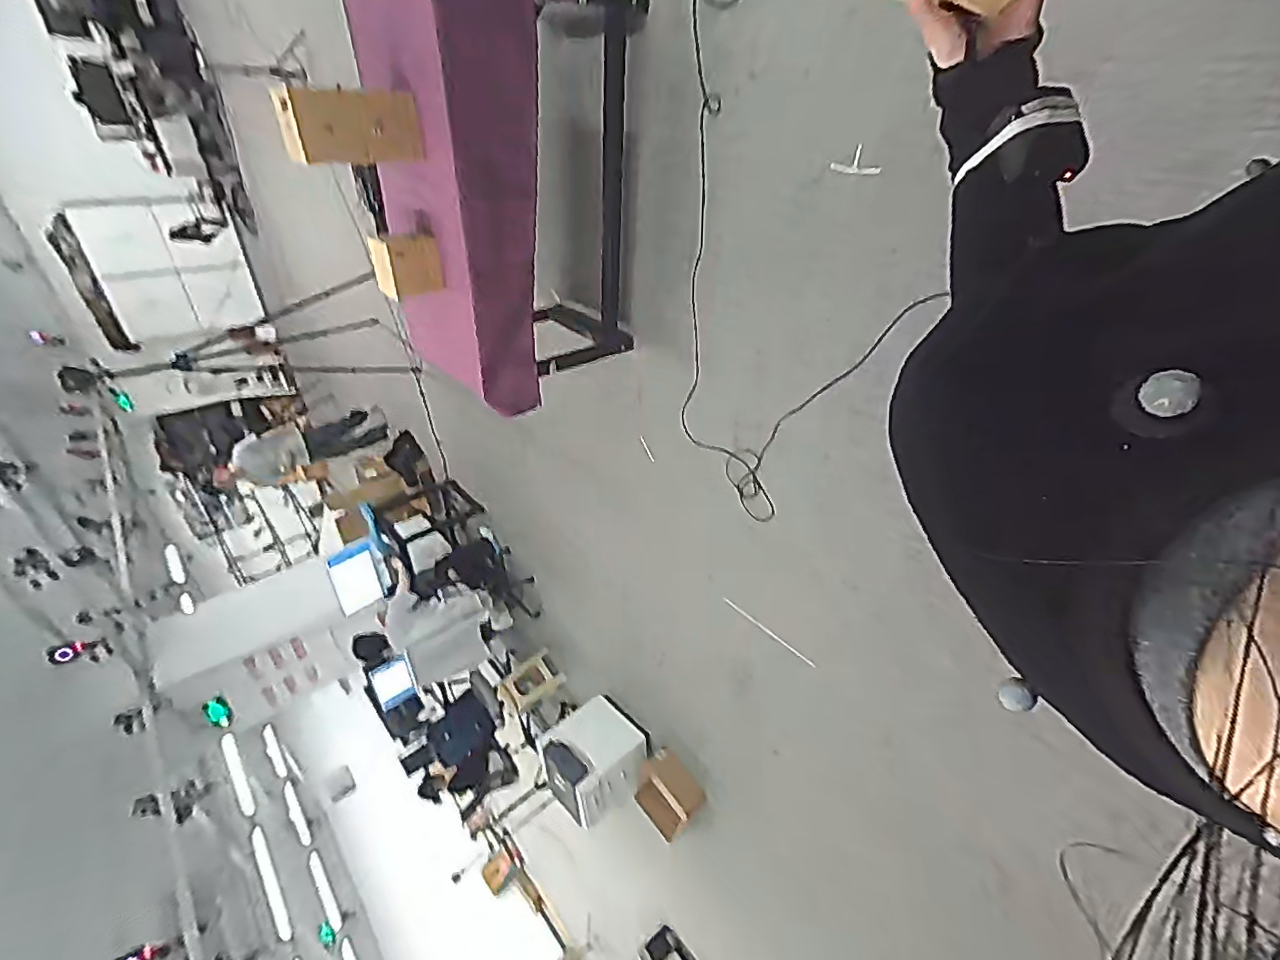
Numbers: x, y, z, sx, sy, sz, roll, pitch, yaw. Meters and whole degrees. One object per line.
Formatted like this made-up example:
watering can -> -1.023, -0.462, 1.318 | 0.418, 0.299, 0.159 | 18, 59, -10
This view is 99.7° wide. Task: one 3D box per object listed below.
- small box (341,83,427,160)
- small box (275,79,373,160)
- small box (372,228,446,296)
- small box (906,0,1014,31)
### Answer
small box -> -0.745, -1.053, 1.589 | 0.168, 0.176, 0.179 | 34, 135, 35
small box -> -0.869, -0.995, 1.496 | 0.168, 0.176, 0.179 | 34, 135, 36
small box -> -0.770, -0.736, 1.818 | 0.168, 0.176, 0.179 | 33, 134, 37
small box -> 0.213, -0.432, 0.334 | 0.179, 0.168, 0.176 | 28, 124, 3
